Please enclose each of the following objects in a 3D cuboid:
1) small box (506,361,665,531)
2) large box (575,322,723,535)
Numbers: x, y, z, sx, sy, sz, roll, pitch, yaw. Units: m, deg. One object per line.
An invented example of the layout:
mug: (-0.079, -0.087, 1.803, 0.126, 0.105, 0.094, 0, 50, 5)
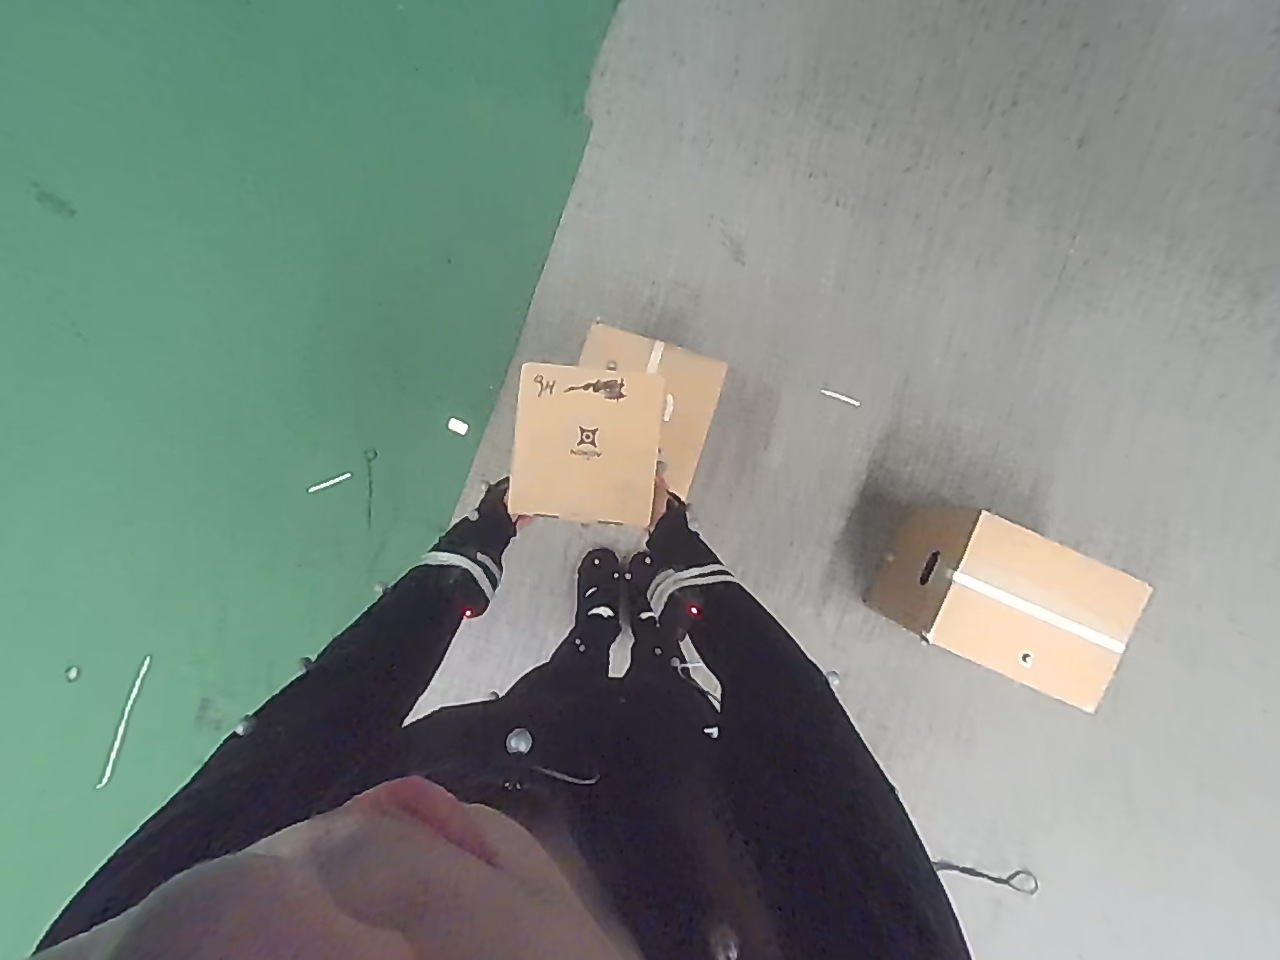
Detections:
small box: (-0.060, -0.040, 0.688, 0.168, 0.176, 0.179, 7, 91, 1)
large box: (-0.021, -0.107, 1.317, 0.320, 0.320, 0.408, 18, 89, 0)
